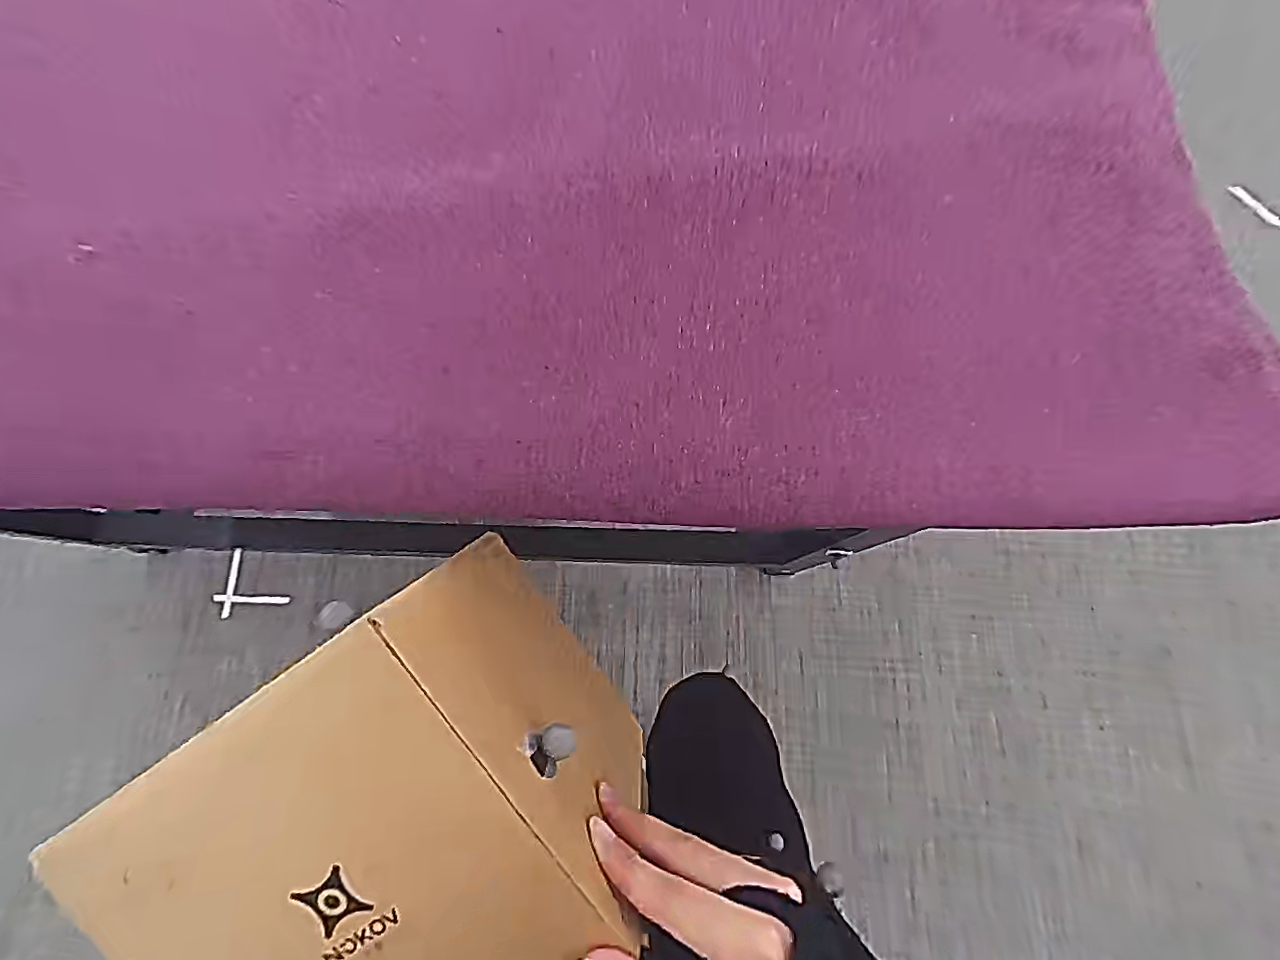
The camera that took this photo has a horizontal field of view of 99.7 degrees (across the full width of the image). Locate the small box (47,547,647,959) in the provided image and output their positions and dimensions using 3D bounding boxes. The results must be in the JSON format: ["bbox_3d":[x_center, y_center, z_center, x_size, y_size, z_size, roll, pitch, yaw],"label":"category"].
[{"bbox_3d":[-0.113,0.152,0.289,0.168,0.176,0.179,-36,95,3],"label":"small box"}]
